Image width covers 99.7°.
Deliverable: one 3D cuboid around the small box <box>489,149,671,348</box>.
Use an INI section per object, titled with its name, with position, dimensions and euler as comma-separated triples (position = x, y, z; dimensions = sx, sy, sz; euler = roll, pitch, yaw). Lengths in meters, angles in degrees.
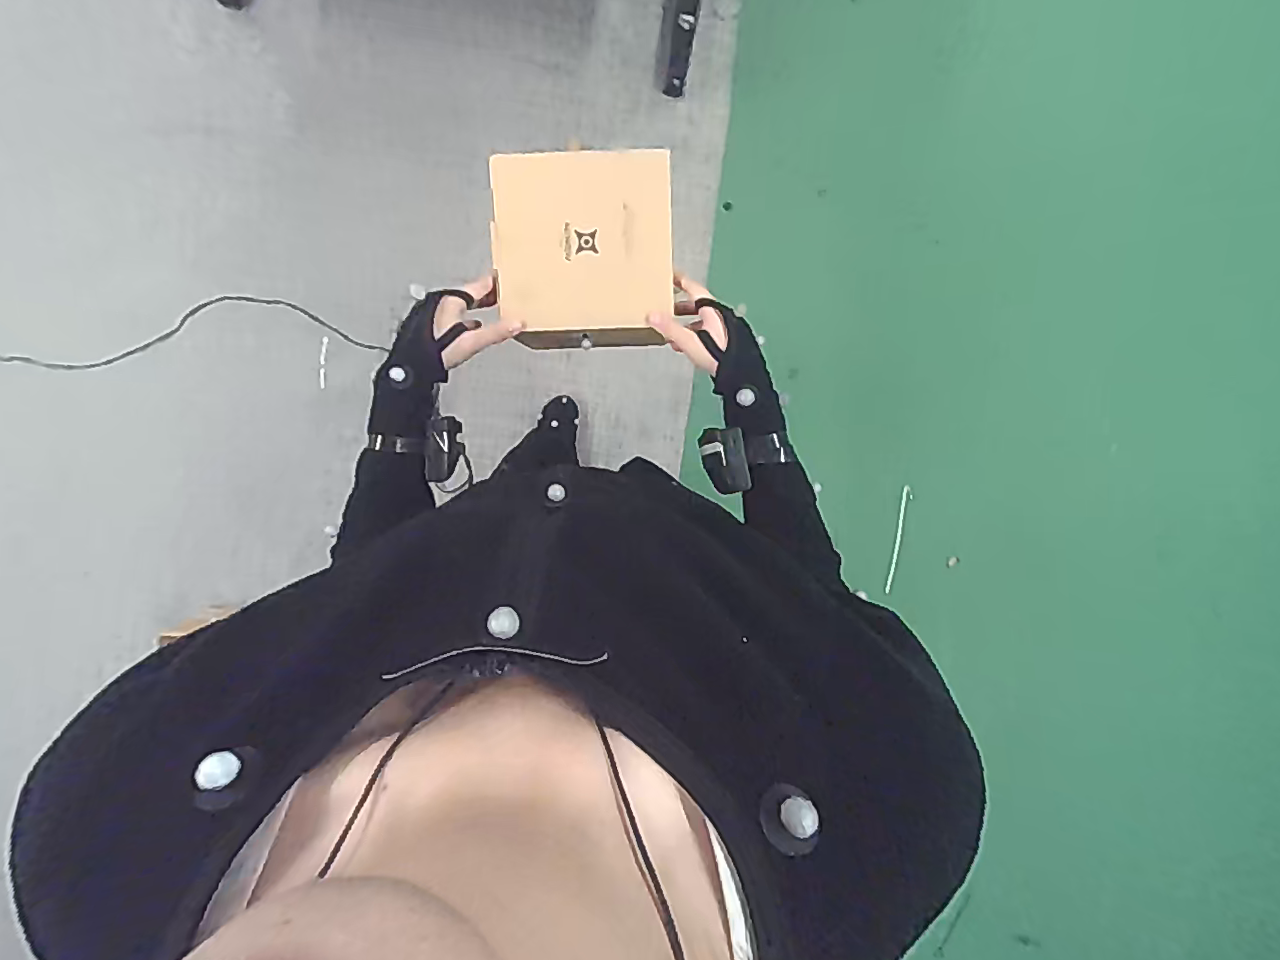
[small box]
position = -0.055, -0.242, 0.606
dimensions = 0.179, 0.176, 0.168
euler = -2, 98, 2
